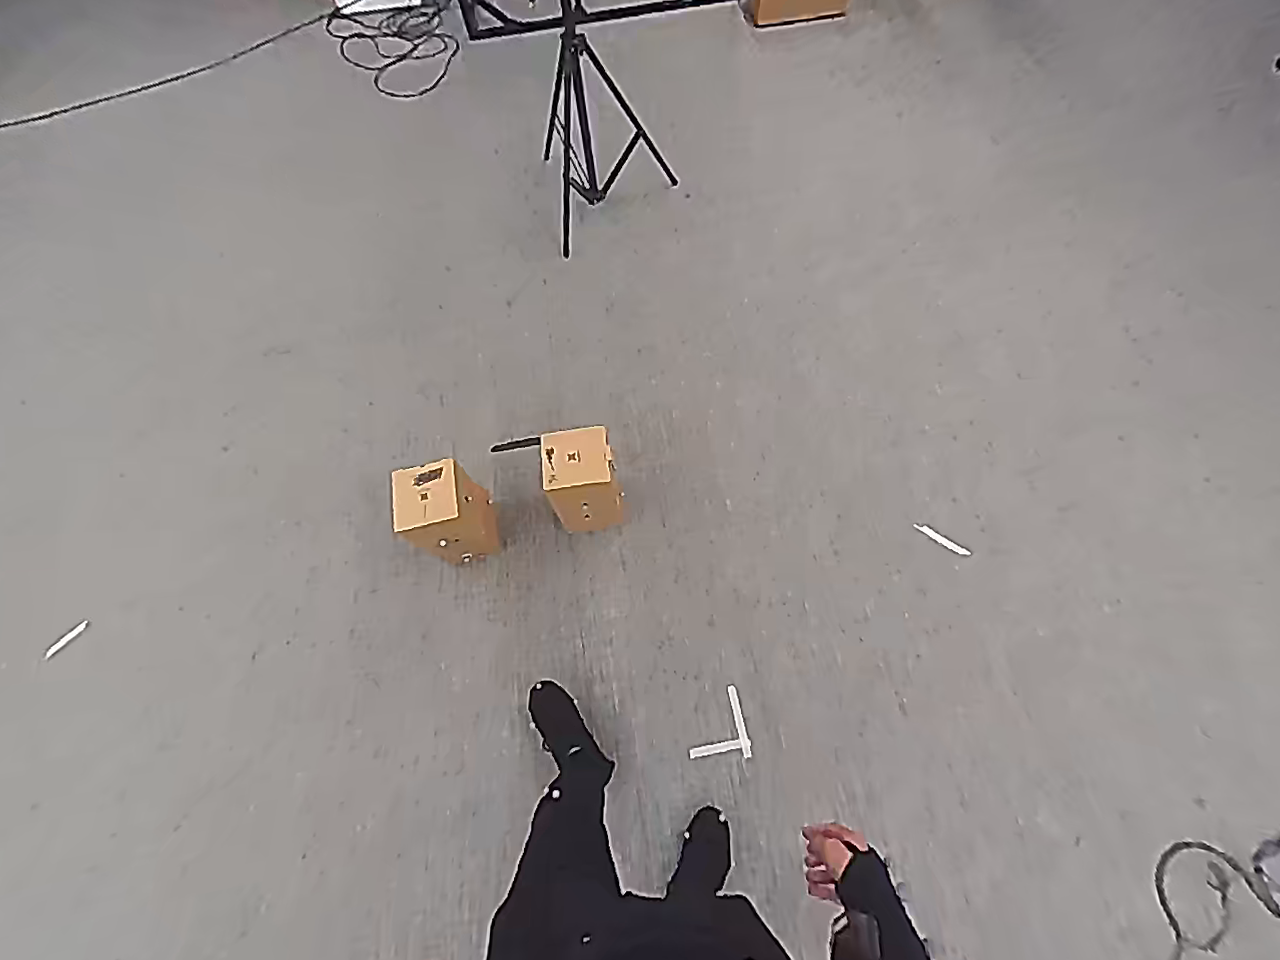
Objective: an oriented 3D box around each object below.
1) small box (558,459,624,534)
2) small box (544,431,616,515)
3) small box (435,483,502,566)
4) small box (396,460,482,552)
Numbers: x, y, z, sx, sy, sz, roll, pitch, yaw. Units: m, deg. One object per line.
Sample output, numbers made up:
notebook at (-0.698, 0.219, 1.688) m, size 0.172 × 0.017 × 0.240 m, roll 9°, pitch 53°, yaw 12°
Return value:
small box at (-0.148, 0.054, 1.615) m, size 0.179 × 0.176 × 0.168 m, roll -8°, pitch 66°, yaw 0°
small box at (-0.158, -0.015, 1.466) m, size 0.179 × 0.176 × 0.168 m, roll -7°, pitch 65°, yaw 0°
small box at (-0.521, 0.136, 1.603) m, size 0.168 × 0.176 × 0.179 m, roll -15°, pitch 65°, yaw -3°
small box at (-0.538, 0.074, 1.452) m, size 0.168 × 0.176 × 0.179 m, roll -13°, pitch 66°, yaw -1°
